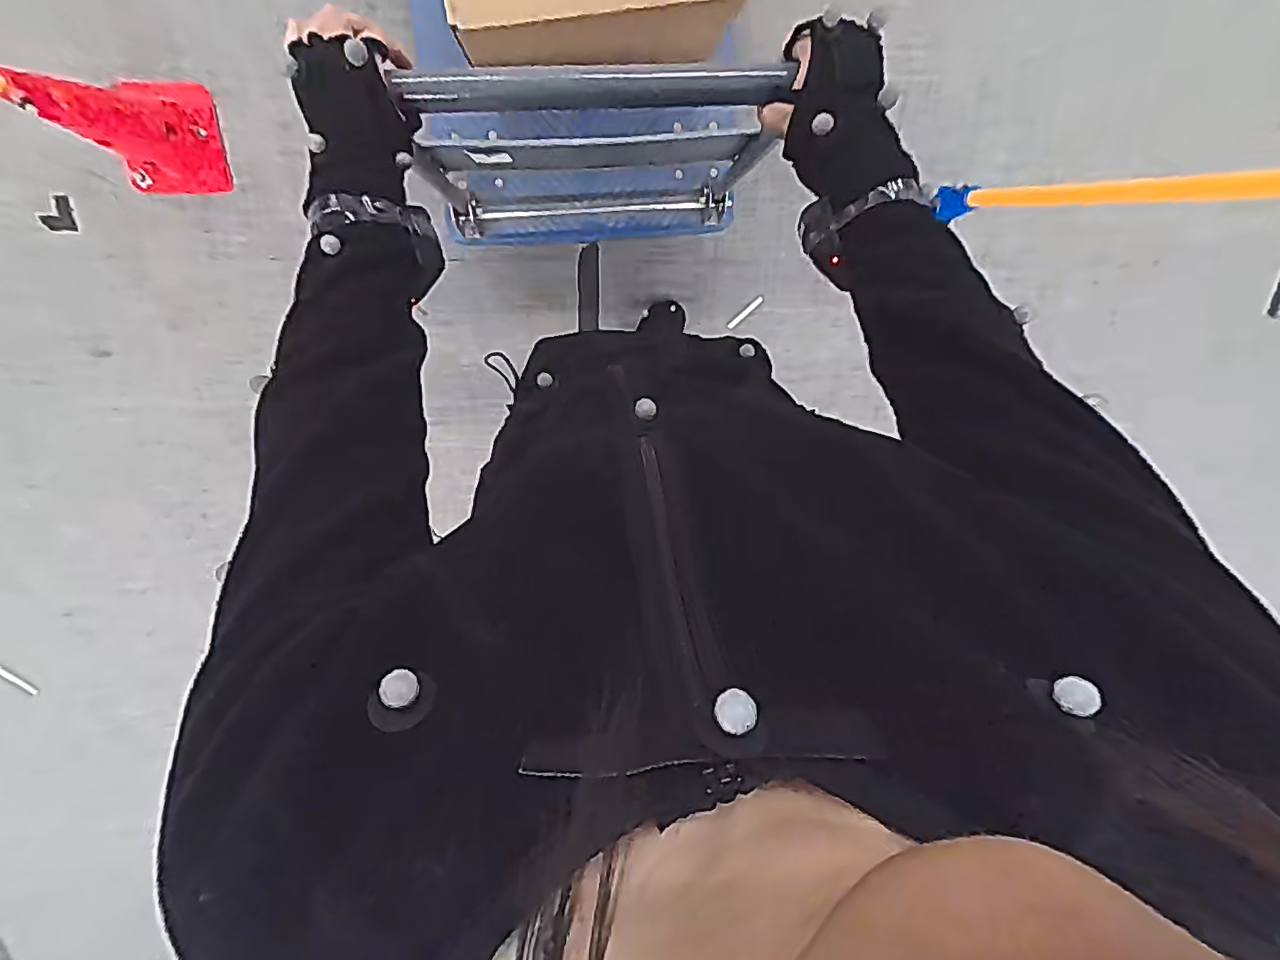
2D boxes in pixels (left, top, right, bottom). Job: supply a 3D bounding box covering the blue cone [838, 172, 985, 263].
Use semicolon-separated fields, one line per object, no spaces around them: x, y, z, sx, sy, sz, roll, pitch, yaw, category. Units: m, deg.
0.579;-0.571;1.133;0.193;0.380;0.192;-5;109;-4;blue cone
